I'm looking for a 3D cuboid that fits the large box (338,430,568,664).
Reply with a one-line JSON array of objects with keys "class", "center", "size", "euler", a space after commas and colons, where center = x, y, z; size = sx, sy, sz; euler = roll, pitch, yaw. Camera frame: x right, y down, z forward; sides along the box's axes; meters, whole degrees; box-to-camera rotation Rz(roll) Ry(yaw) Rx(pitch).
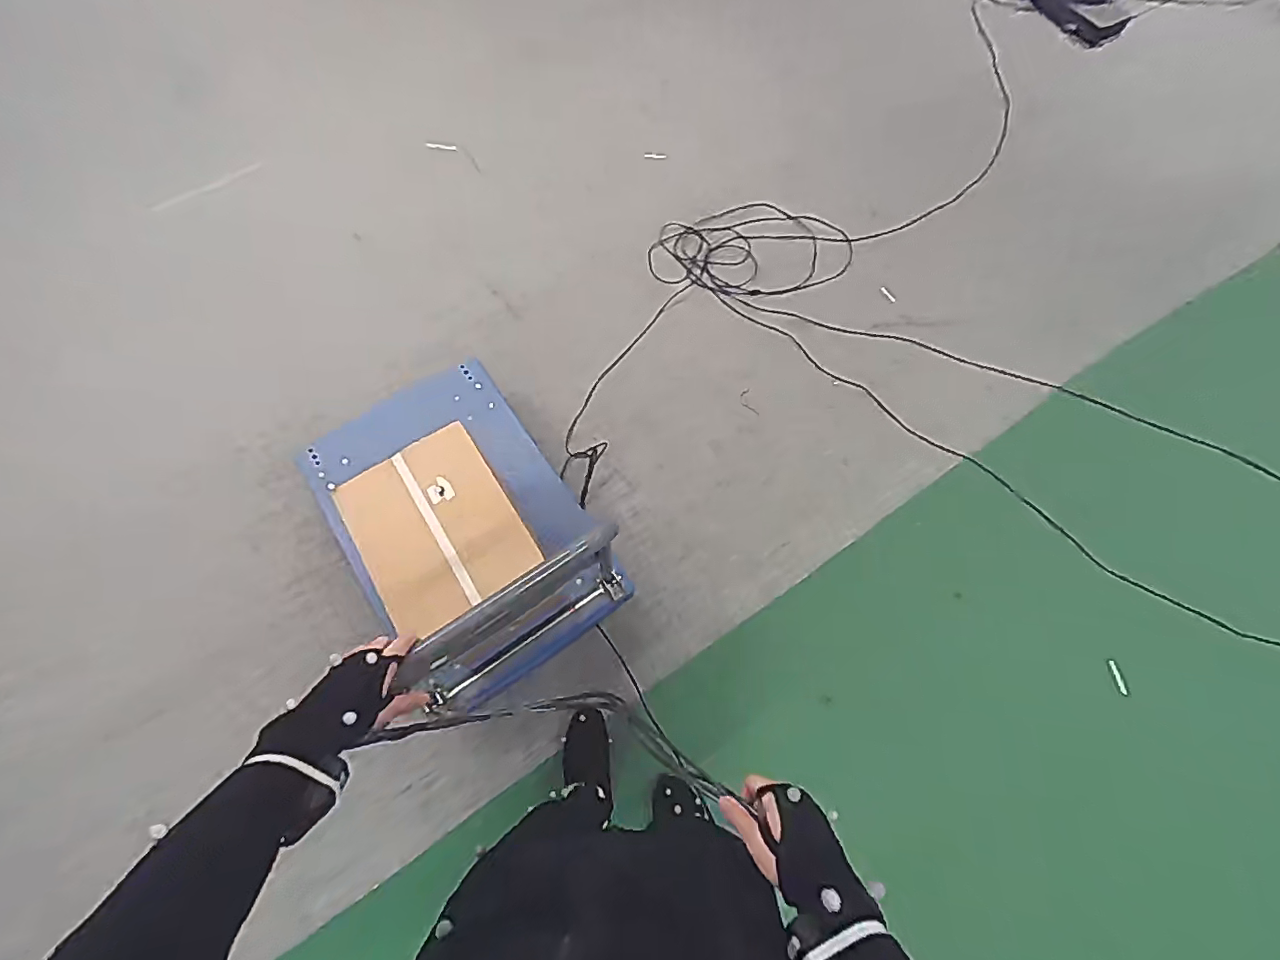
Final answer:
[{"class": "large box", "center": [-0.416, 0.168, 1.272], "size": [0.320, 0.320, 0.408], "euler": [-31, 70, -12]}]
